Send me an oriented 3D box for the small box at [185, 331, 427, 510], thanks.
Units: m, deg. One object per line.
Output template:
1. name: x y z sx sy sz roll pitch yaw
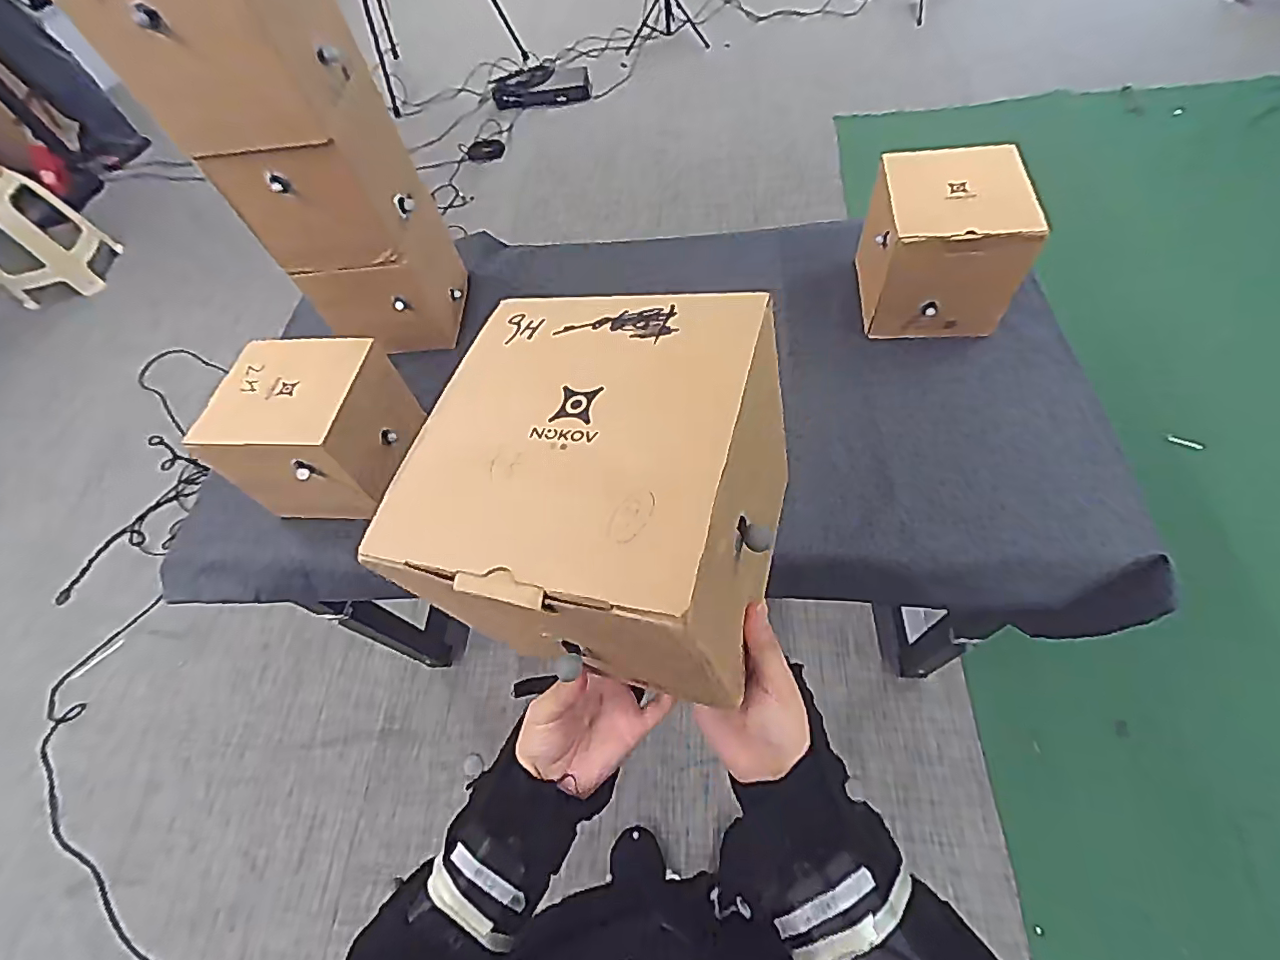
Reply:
1. small box: -0.404 -0.071 0.696 0.179 0.176 0.168 1 58 8

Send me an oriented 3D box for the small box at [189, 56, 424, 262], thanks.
1. small box: -0.413 -0.408 0.706 0.179 0.176 0.168 -4 62 4

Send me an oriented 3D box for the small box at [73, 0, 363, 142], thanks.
1. small box: -0.429 -0.479 0.558 0.179 0.176 0.168 -2 62 5

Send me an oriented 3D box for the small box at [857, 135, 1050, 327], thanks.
1. small box: 0.404 -0.331 0.735 0.168 0.176 0.179 1 62 9

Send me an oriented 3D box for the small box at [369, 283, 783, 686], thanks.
1. small box: -0.010 0.009 0.327 0.168 0.176 0.179 6 62 22
